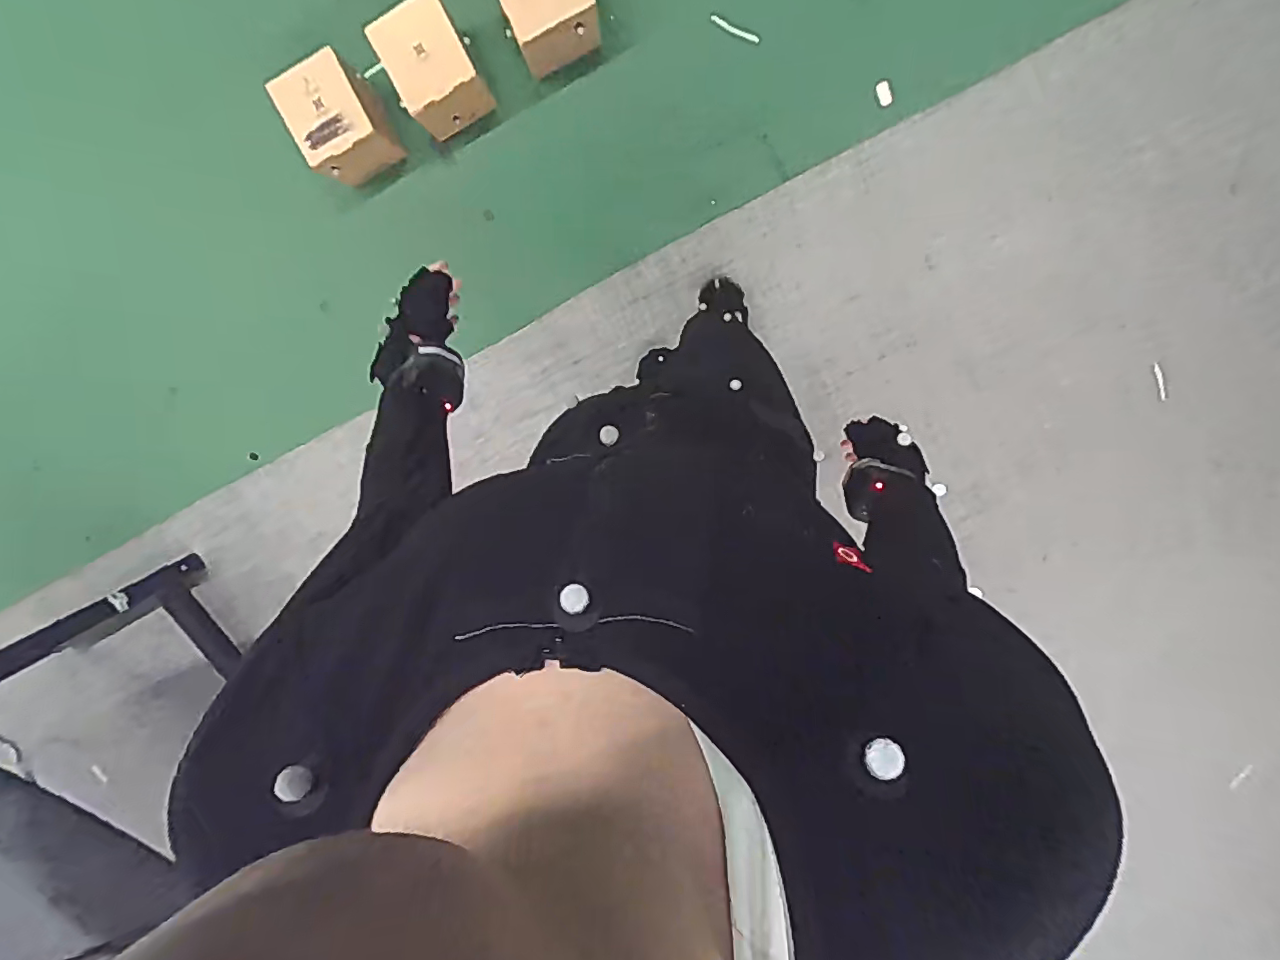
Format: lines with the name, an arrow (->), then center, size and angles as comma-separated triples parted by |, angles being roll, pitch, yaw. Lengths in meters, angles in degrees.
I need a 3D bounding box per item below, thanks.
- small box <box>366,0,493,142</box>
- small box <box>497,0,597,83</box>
small box -> -0.450, -0.889, 1.185 | 0.168, 0.176, 0.179 | -26, 105, 7
small box -> -0.200, -1.001, 1.152 | 0.179, 0.176, 0.168 | -24, 104, 6
